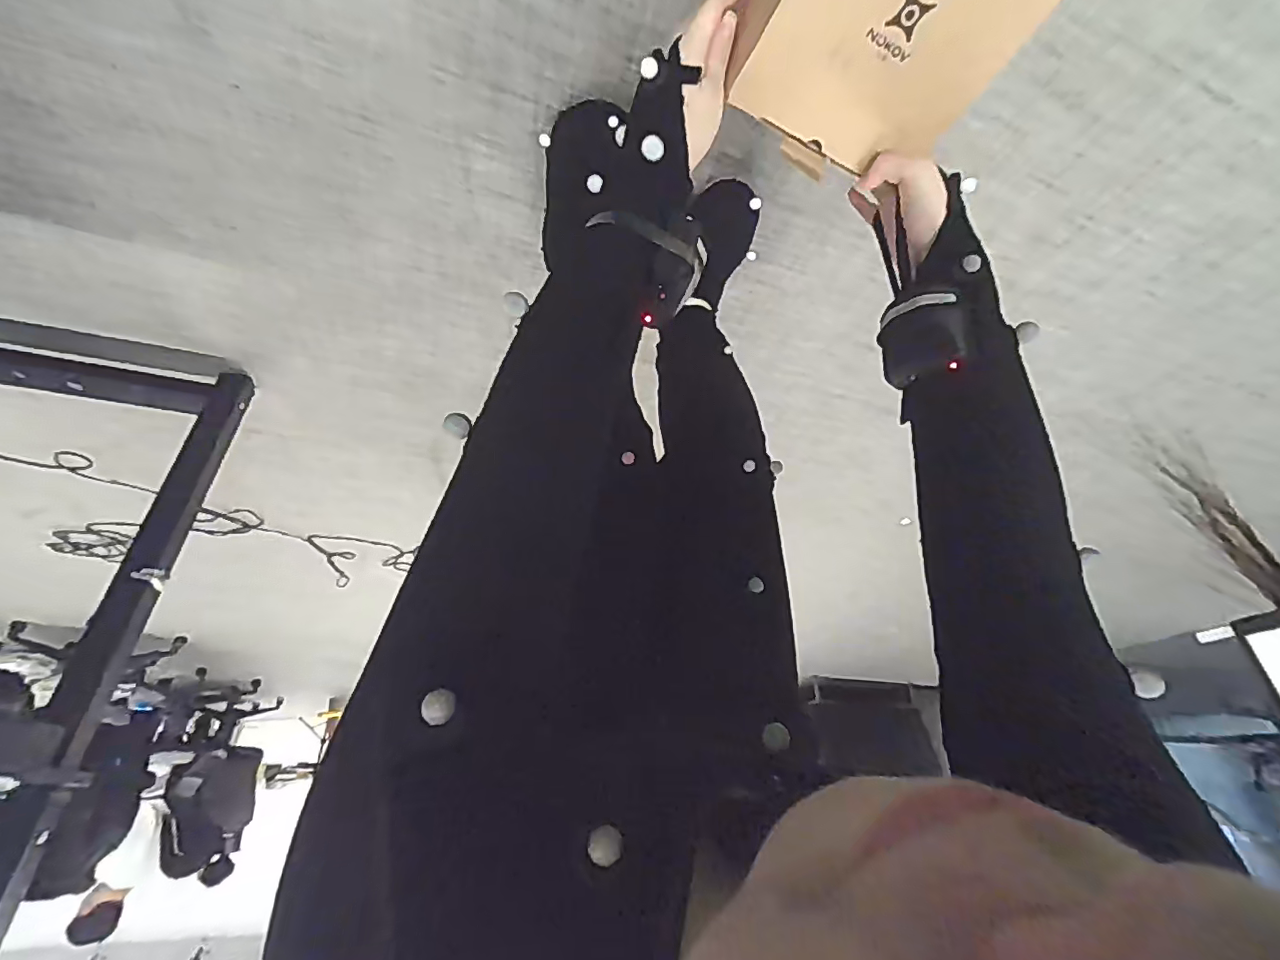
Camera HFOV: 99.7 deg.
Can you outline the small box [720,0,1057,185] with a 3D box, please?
[{"bbox_3d":[0.171,-0.371,0.395,0.168,0.176,0.179,14,146,-21],"label":"small box"}]
